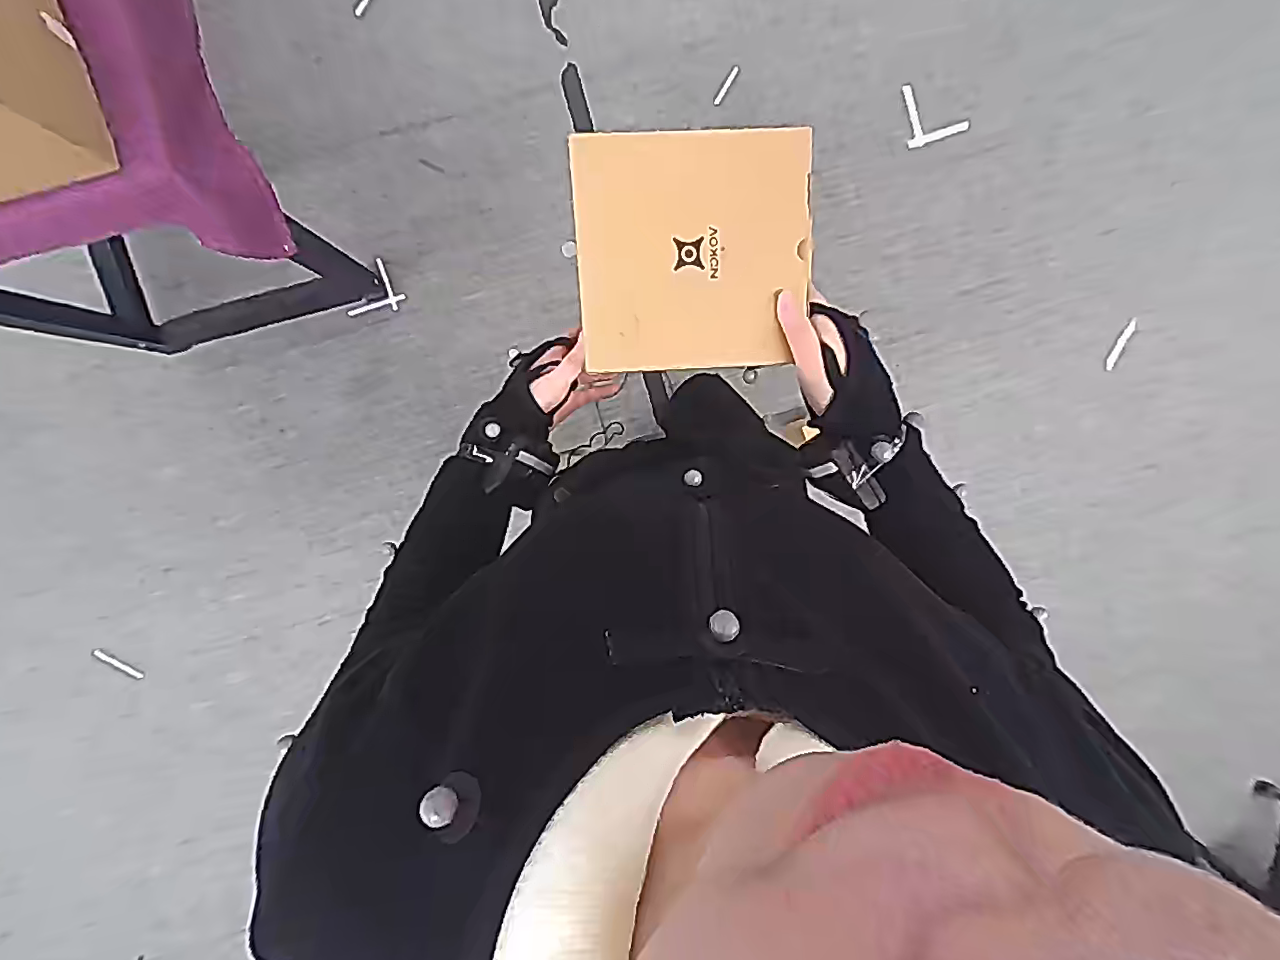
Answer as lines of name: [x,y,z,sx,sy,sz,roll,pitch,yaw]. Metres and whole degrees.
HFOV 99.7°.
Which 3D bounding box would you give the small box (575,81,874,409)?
small box: [0.057,-0.170,0.437,0.168,0.176,0.179,-8,84,-21]
